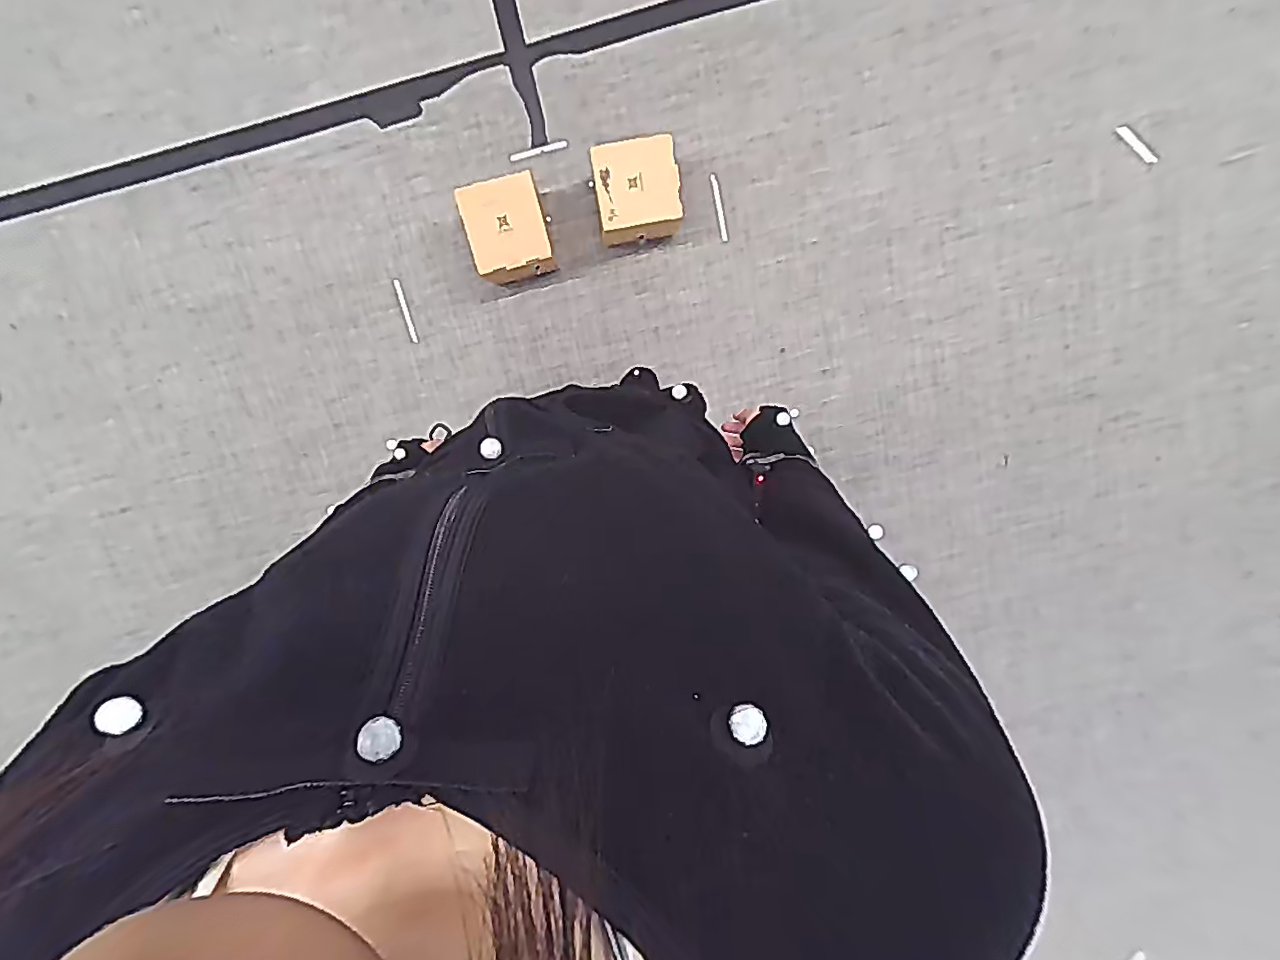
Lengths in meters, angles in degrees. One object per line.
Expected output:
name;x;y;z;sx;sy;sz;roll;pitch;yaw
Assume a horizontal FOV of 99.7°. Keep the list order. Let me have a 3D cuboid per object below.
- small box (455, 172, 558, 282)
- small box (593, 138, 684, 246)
small box;-0.288;-0.554;1.213;0.168;0.176;0.179;-15;102;0
small box;-0.008;-0.635;1.207;0.179;0.176;0.168;-10;104;-1
